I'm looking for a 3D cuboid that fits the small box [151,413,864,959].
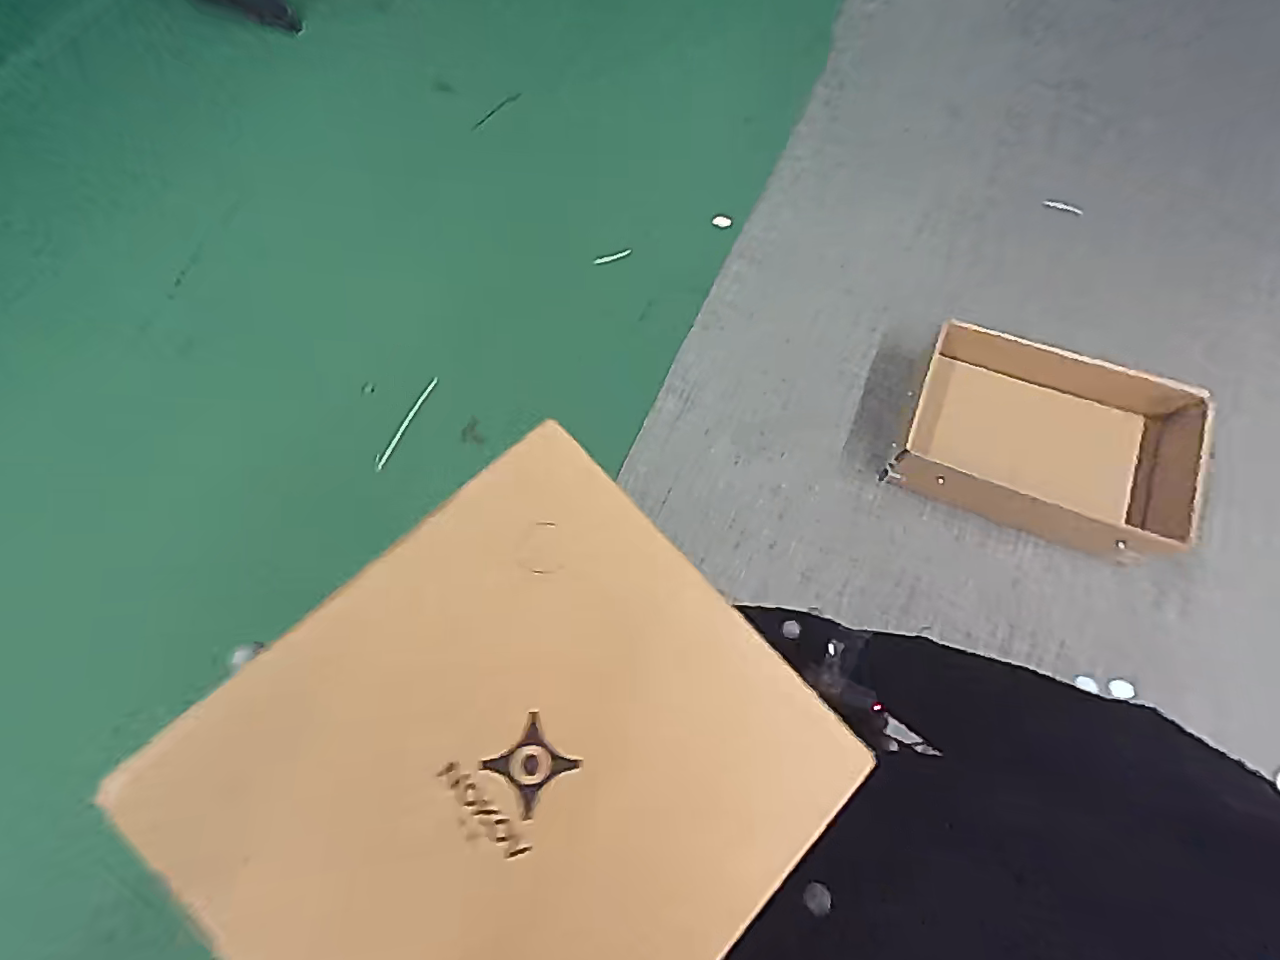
[{"bbox_3d":[-0.044,0.103,0.256,0.179,0.176,0.168,-42,85,-13],"label":"small box"}]
